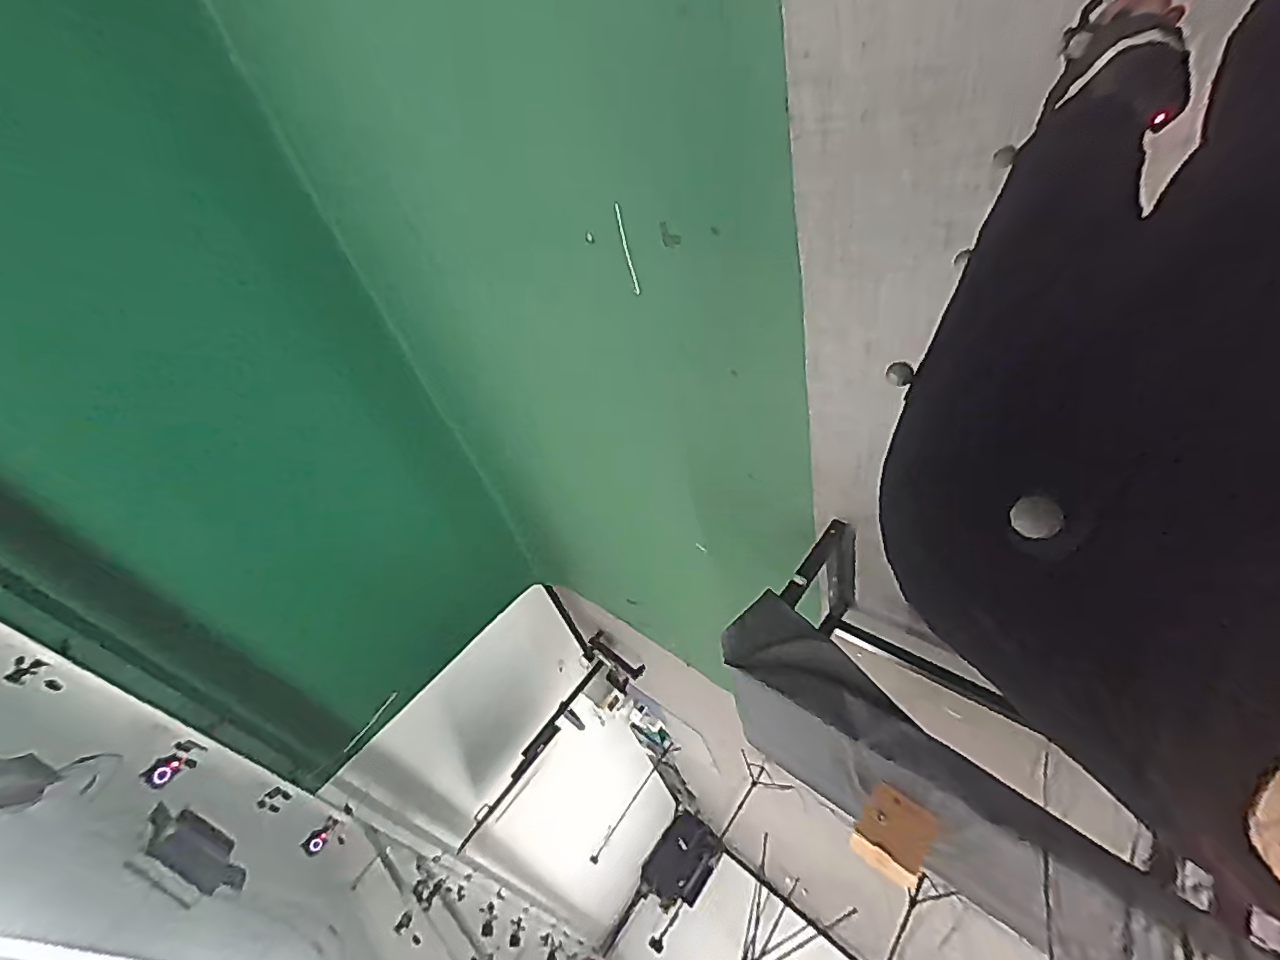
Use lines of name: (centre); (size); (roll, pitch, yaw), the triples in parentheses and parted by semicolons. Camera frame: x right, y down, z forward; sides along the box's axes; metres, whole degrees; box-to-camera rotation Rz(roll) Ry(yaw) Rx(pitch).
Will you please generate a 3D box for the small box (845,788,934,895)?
small box: (0.692, 0.997, 1.500); (0.168, 0.176, 0.179); (26, 148, 36)
